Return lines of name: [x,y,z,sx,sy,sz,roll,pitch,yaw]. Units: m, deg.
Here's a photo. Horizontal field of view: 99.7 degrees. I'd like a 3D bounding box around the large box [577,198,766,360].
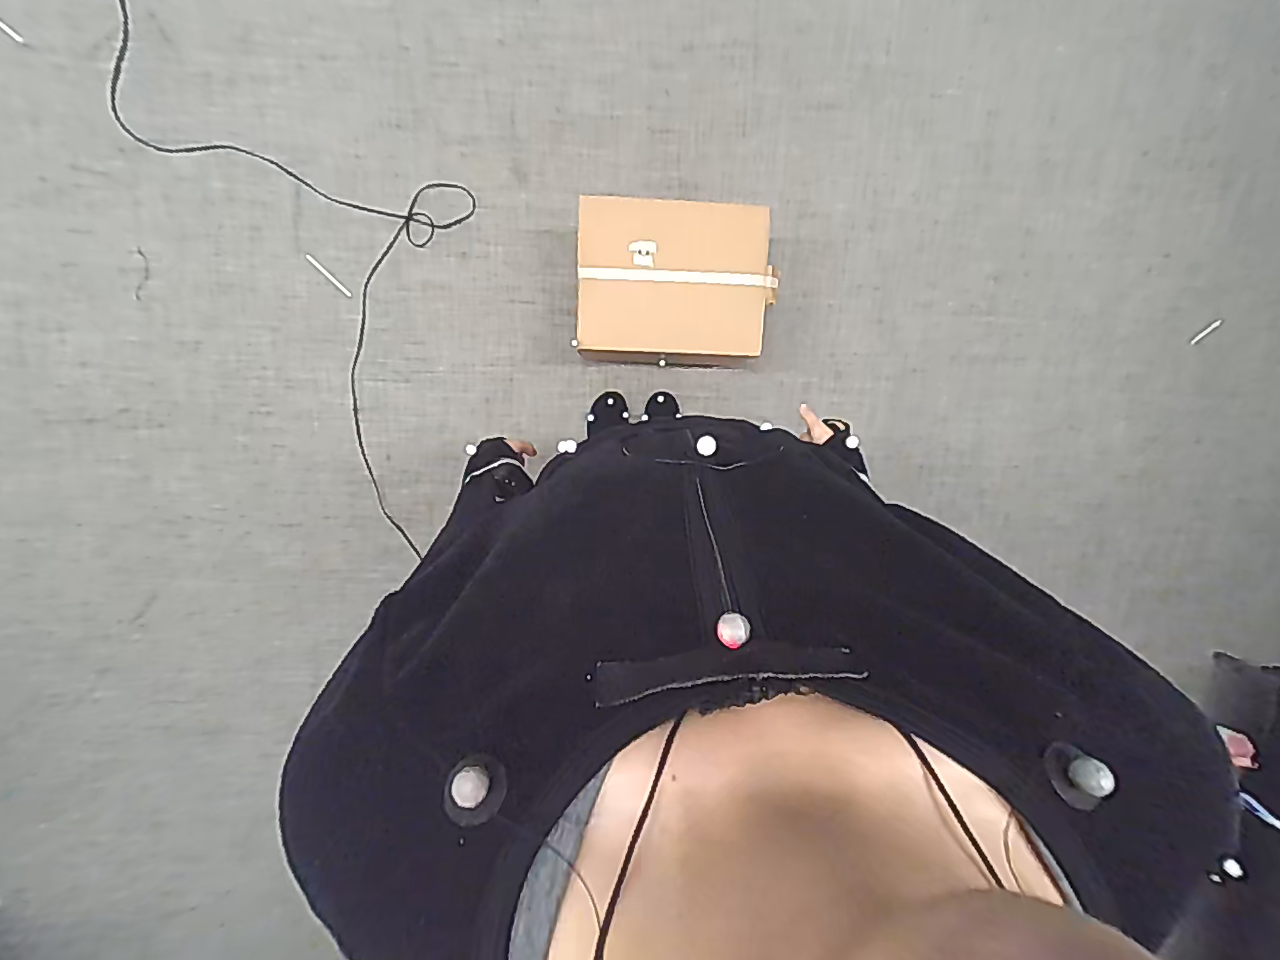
large box: [0.061,-0.457,1.302,0.408,0.320,0.320,2,98,-3]
